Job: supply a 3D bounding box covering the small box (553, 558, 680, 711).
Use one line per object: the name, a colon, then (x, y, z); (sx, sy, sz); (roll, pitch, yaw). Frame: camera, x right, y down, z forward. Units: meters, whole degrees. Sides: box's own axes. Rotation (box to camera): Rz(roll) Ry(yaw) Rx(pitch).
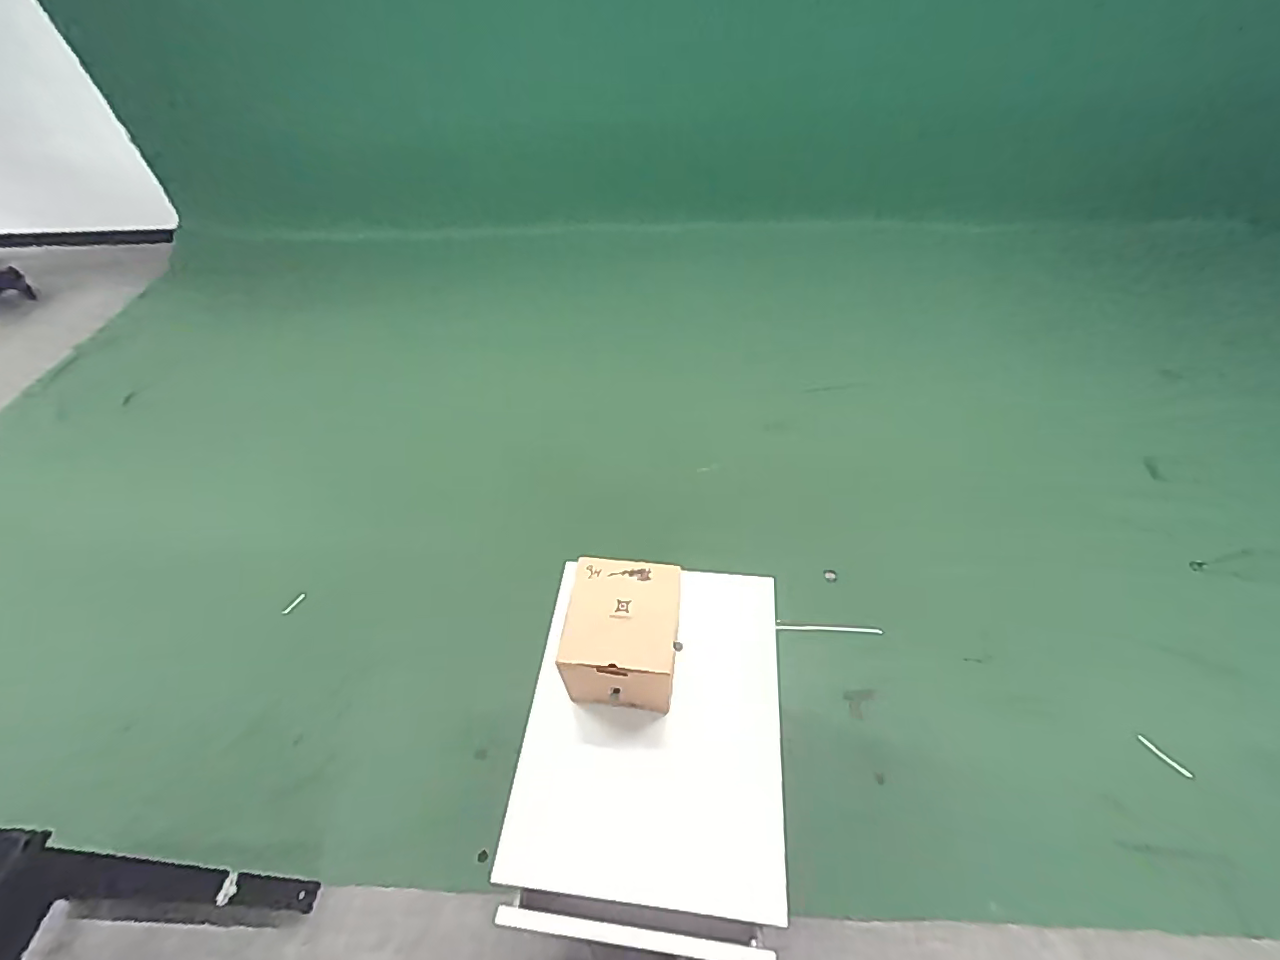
small box: (-0.026, 0.246, 0.850); (0.168, 0.176, 0.179); (5, 51, 6)
